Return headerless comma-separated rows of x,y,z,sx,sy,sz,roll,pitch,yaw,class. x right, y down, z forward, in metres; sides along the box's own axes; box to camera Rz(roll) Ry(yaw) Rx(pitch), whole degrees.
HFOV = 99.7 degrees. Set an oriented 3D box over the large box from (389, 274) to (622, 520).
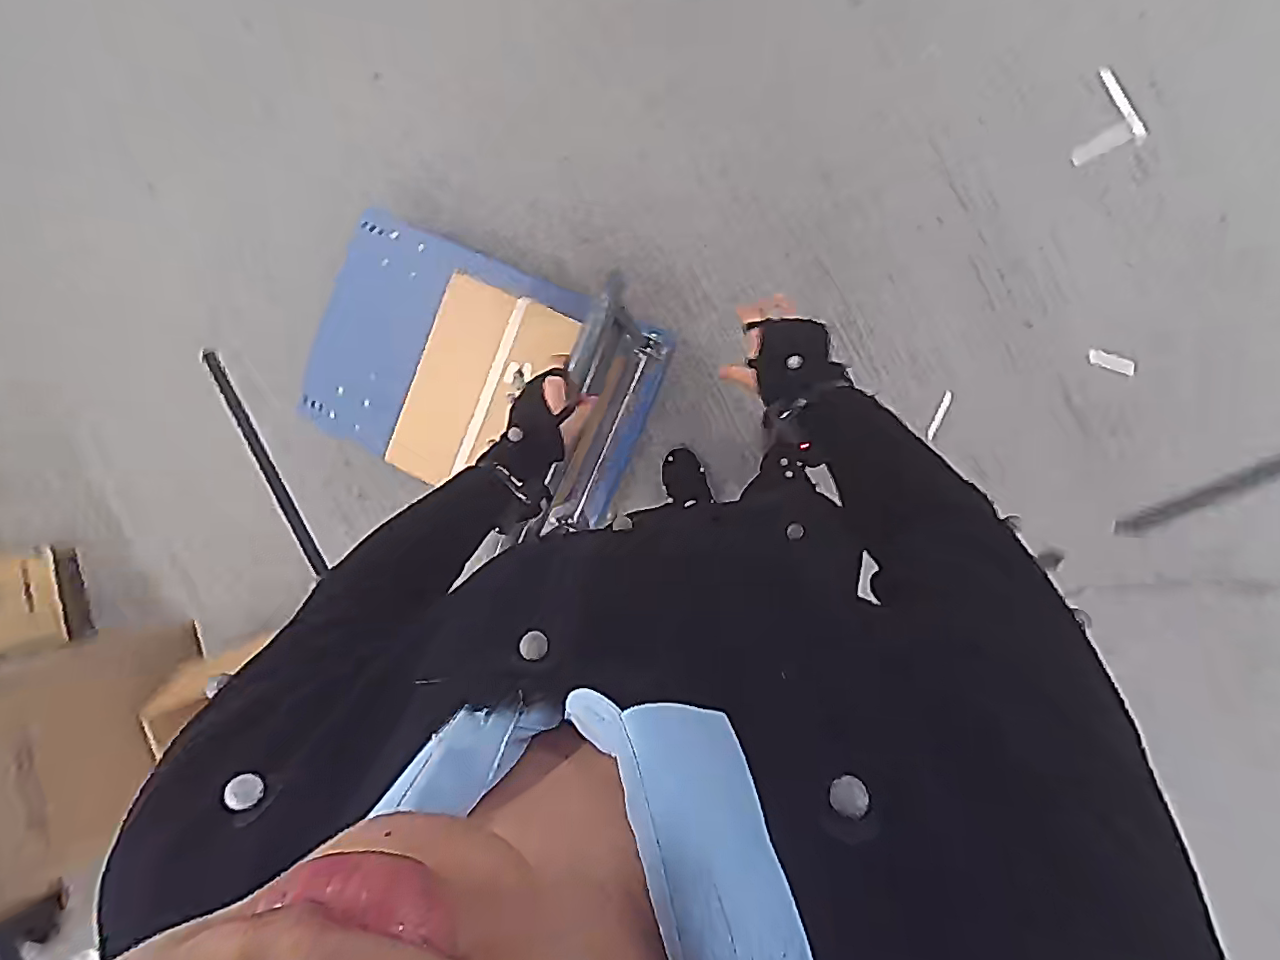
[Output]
-0.274,-0.167,1.194,0.320,0.320,0.408,24,97,5,large box
